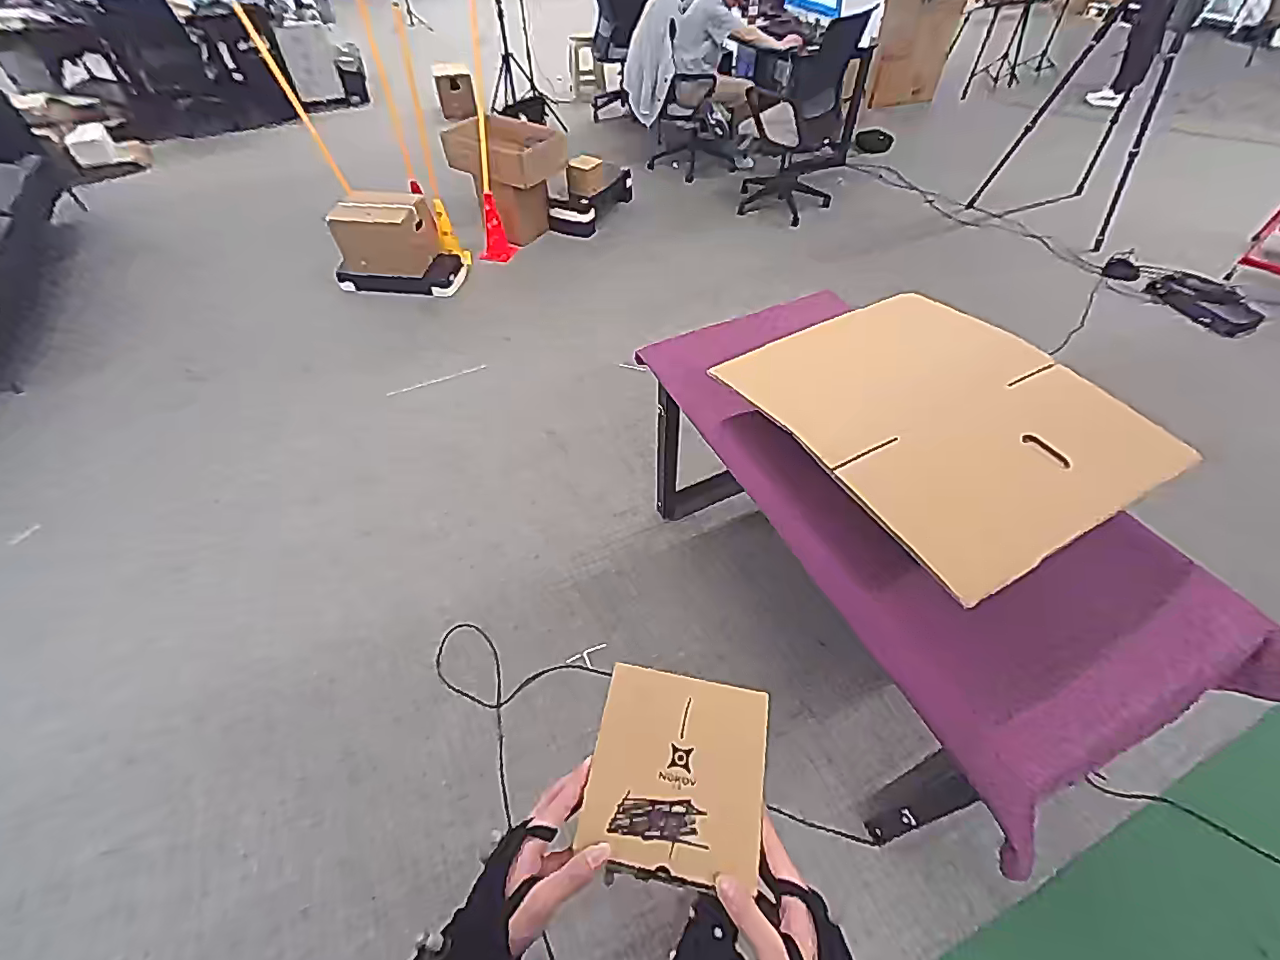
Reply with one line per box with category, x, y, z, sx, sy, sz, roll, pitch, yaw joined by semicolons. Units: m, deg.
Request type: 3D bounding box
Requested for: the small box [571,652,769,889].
small box;0.036;0.313;0.579;0.168;0.176;0.179;10;53;7
